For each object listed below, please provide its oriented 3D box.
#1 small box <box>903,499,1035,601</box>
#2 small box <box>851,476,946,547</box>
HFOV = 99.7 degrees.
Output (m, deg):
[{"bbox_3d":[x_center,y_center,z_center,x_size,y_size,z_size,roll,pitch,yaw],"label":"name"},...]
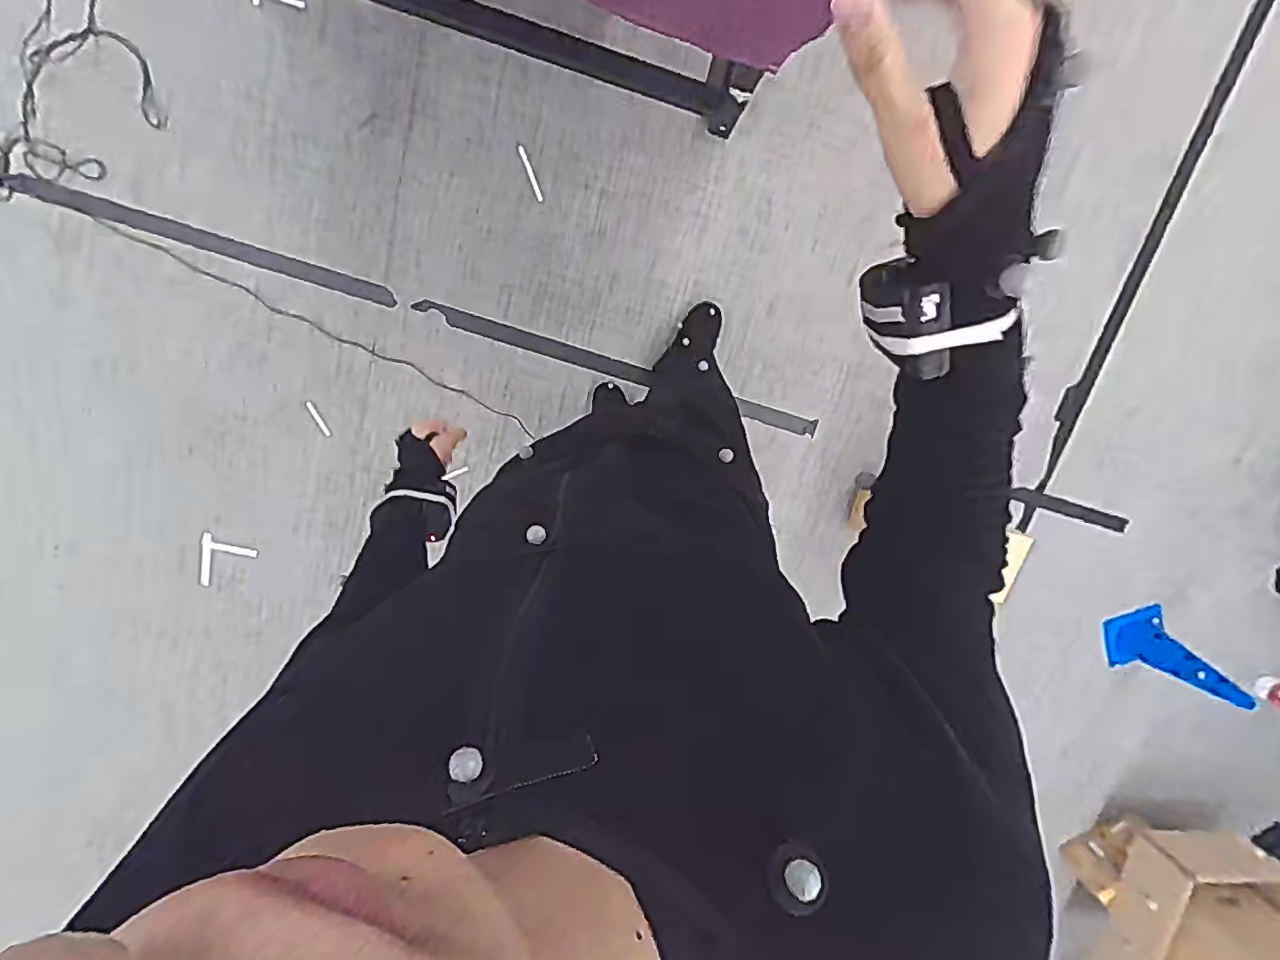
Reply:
[{"bbox_3d":[0.769,0.159,1.283,0.179,0.176,0.168,15,105,-6],"label":"small box"},{"bbox_3d":[0.758,0.094,1.608,0.179,0.176,0.168,11,104,-6],"label":"small box"}]
